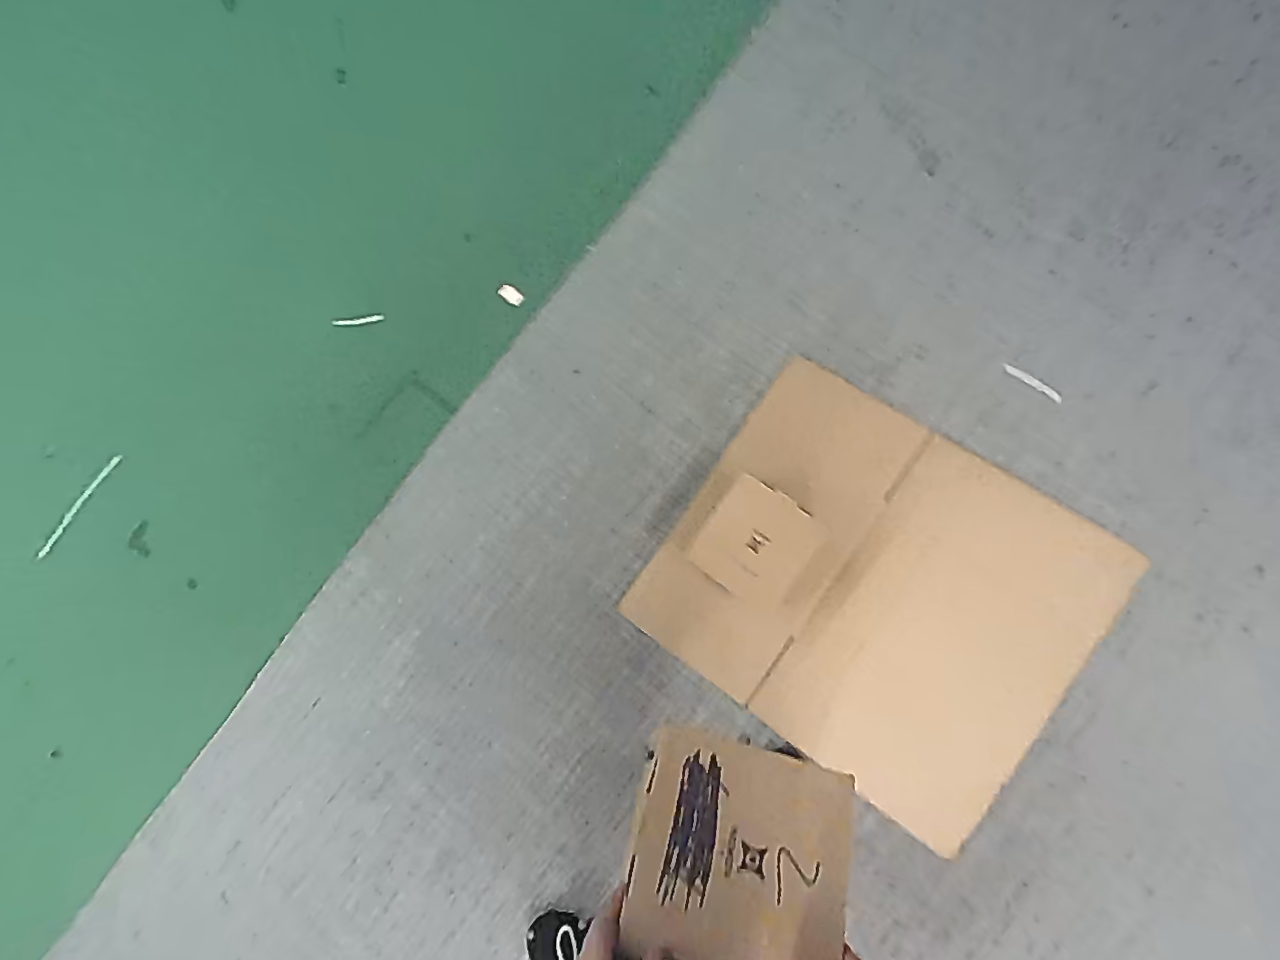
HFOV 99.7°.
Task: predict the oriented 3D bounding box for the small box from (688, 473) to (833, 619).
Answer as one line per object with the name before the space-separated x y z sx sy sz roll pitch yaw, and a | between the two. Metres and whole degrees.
small box | 0.203 0.112 0.935 0.168 0.176 0.179 36 90 14
